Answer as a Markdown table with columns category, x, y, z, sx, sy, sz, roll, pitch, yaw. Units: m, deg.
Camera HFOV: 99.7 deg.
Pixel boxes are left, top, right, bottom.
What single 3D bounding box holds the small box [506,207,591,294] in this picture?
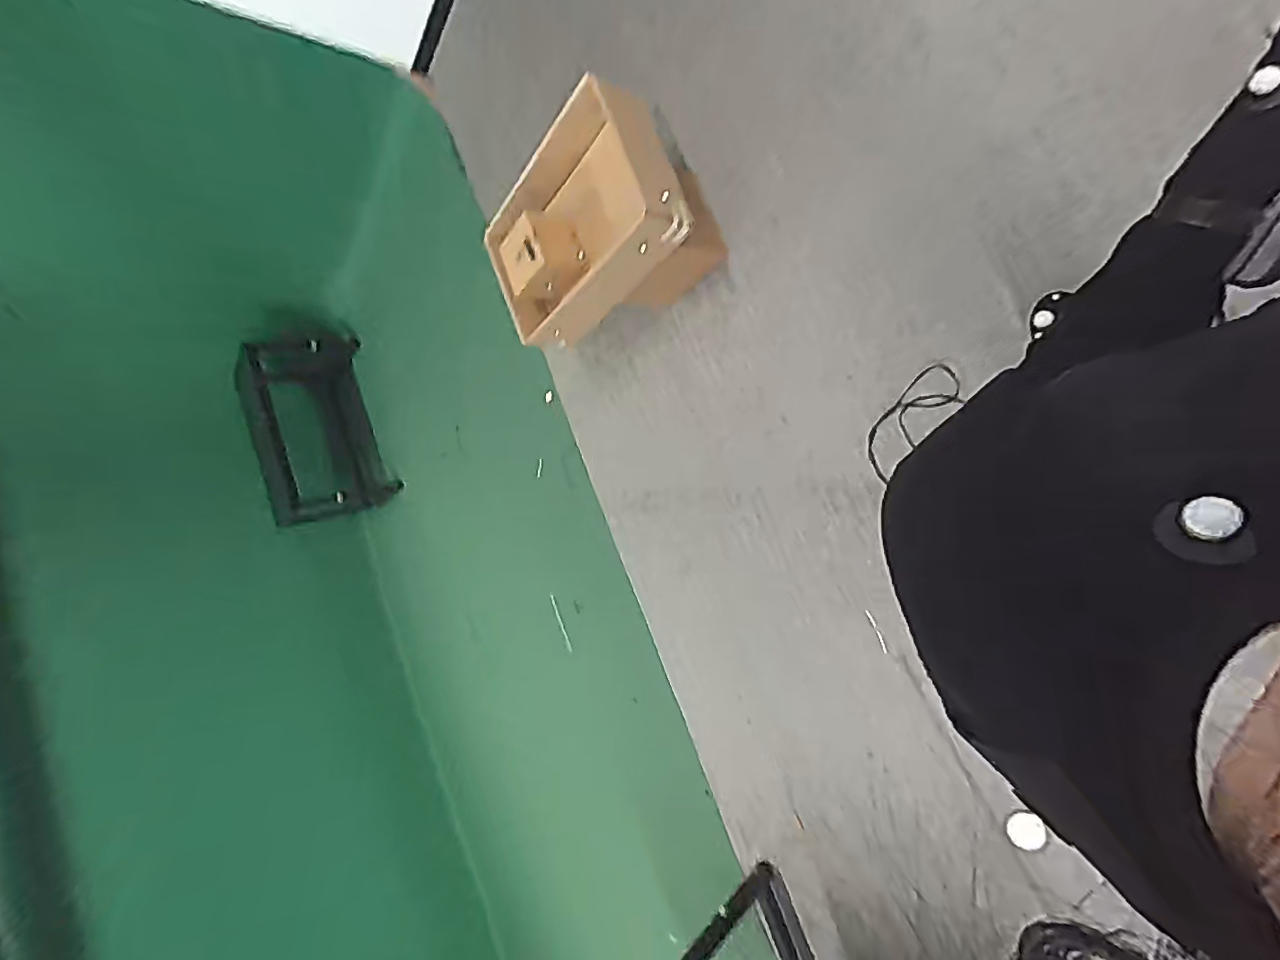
| category | x | y | z | sx | sy | sz | roll | pitch | yaw |
| --- | --- | --- | --- | --- | --- | --- | --- | --- | --- |
| small box | -0.264 | -0.673 | 1.604 | 0.179 | 0.176 | 0.168 | -26 | 82 | 46 |
